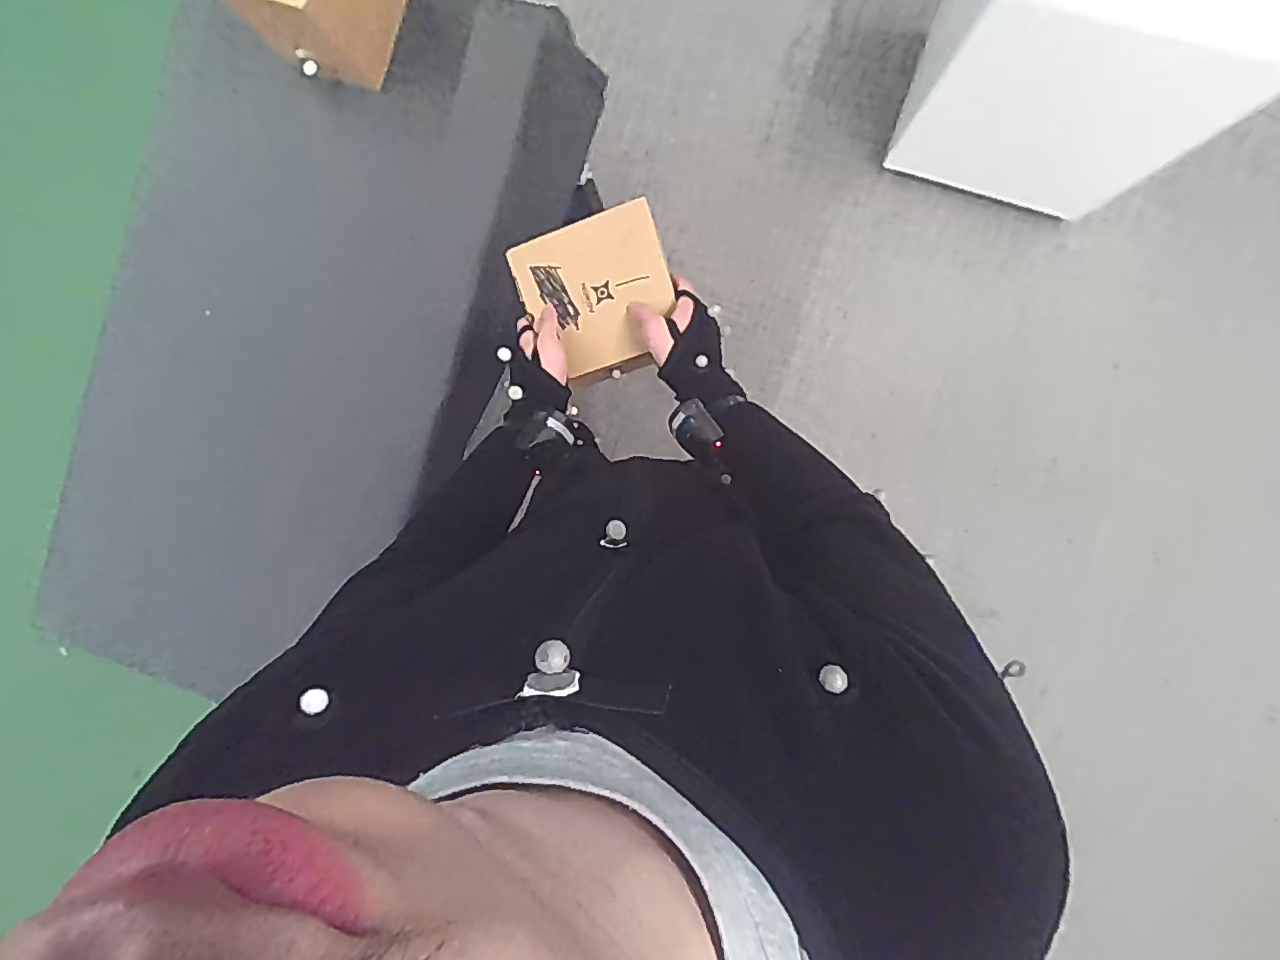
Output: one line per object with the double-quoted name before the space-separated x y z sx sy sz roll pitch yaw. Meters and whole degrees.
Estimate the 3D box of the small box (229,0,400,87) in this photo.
"small box" -0.466 -0.710 0.759 0.168 0.176 0.179 20 96 5

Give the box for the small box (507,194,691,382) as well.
"small box" -0.040 -0.228 0.695 0.179 0.176 0.168 -16 97 9
